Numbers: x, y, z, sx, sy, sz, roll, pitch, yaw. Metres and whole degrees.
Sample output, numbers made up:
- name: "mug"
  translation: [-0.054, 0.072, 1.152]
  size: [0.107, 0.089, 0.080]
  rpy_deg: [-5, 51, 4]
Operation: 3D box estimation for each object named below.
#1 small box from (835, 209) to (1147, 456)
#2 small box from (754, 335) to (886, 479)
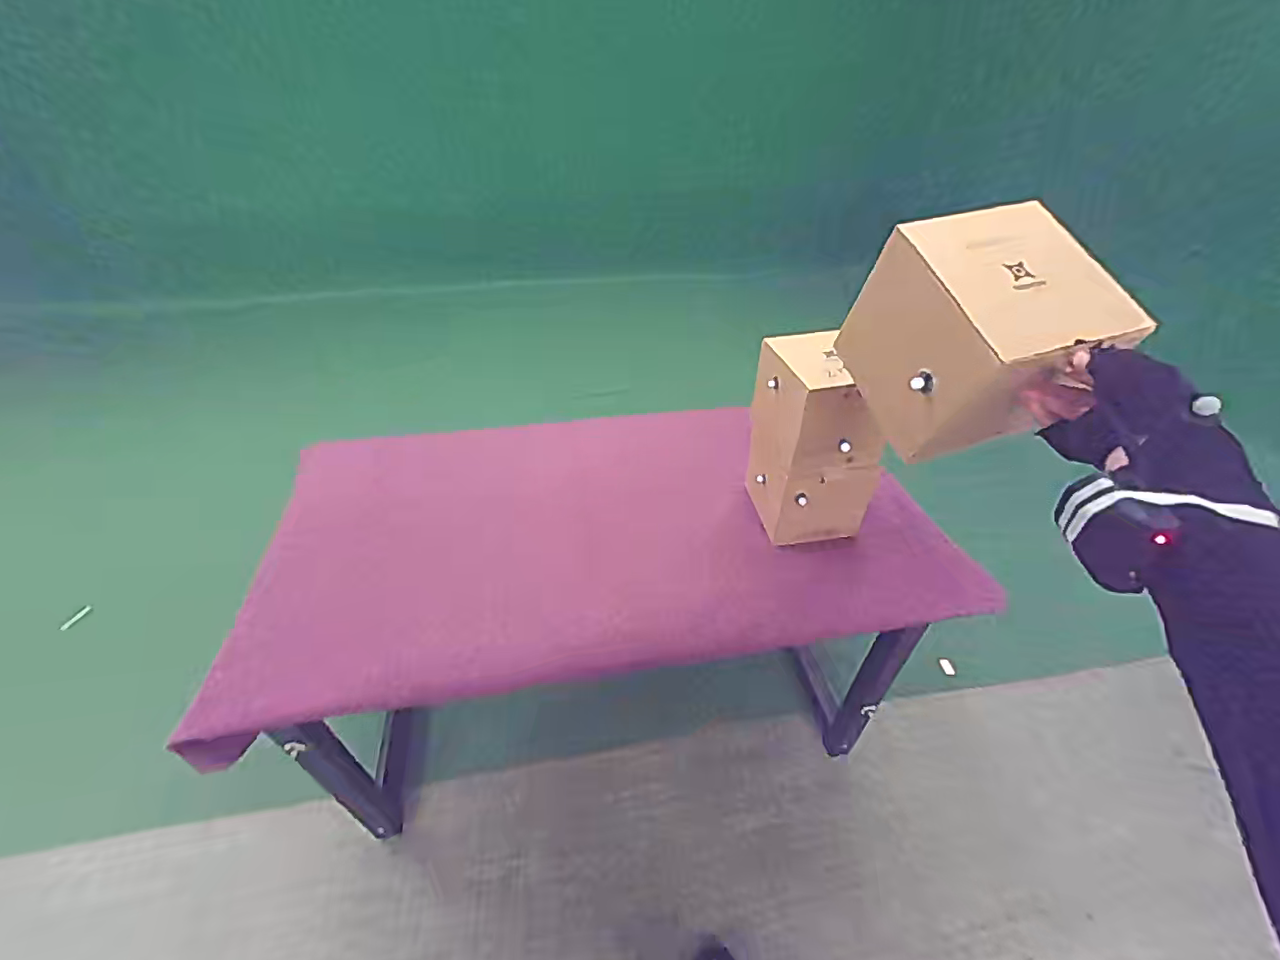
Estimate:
- name: "small box"
  translation: [0.336, -0.141, 0.561]
  size: [0.168, 0.176, 0.179]
  rpy_deg: [-14, 64, -11]
- name: "small box"
  translation: [0.304, -0.125, 0.909]
  size: [0.168, 0.176, 0.179]
  rpy_deg: [-9, 42, -10]
